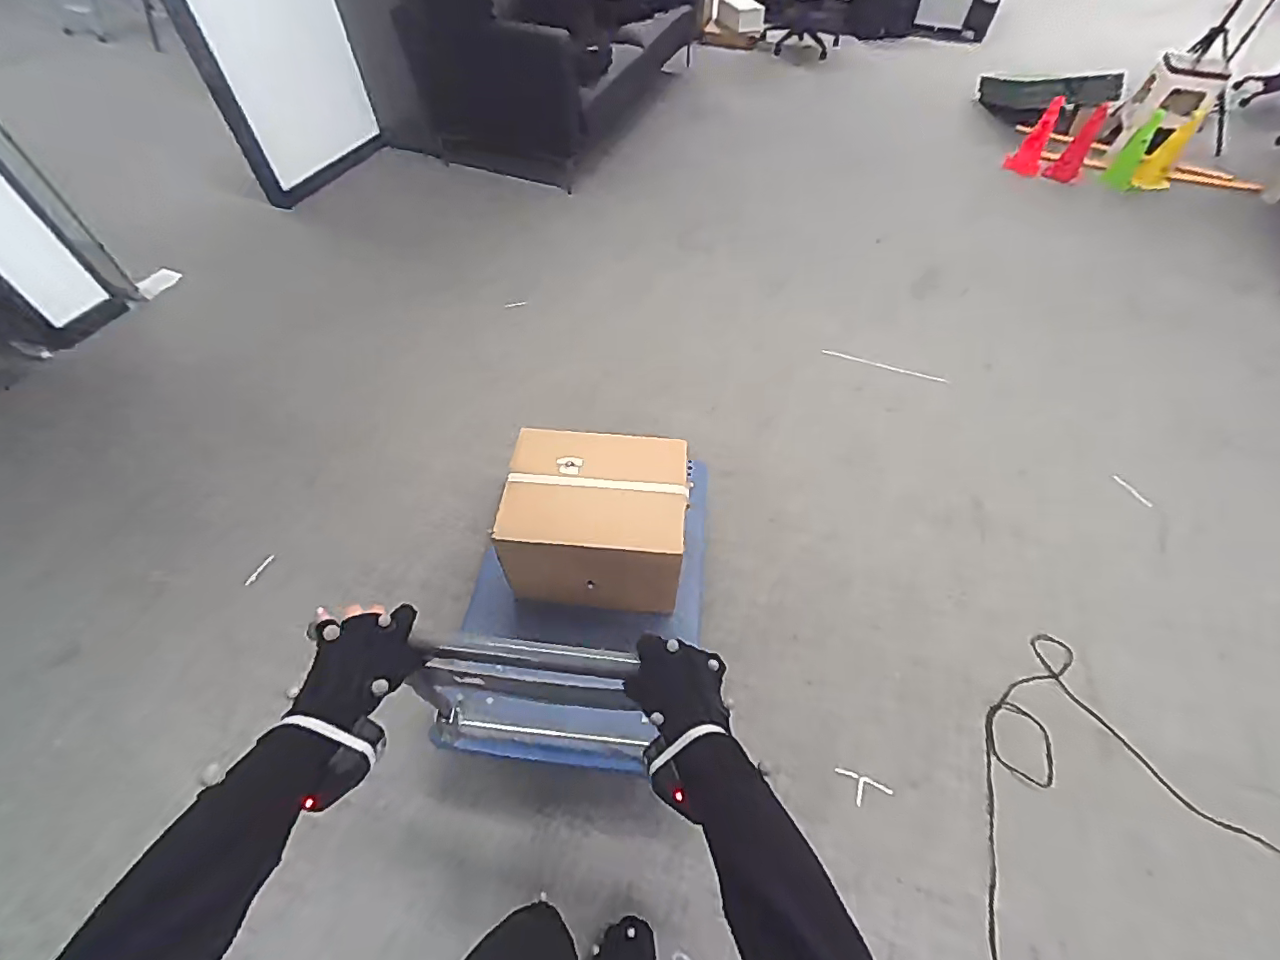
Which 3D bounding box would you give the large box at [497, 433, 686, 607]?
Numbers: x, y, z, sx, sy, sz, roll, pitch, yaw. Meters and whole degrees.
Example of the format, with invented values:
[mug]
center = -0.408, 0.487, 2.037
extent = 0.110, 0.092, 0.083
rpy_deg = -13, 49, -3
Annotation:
[large box]
center = -0.095, 0.106, 1.334
extent = 0.408, 0.320, 0.320
rpy_deg = 3, 53, 2
